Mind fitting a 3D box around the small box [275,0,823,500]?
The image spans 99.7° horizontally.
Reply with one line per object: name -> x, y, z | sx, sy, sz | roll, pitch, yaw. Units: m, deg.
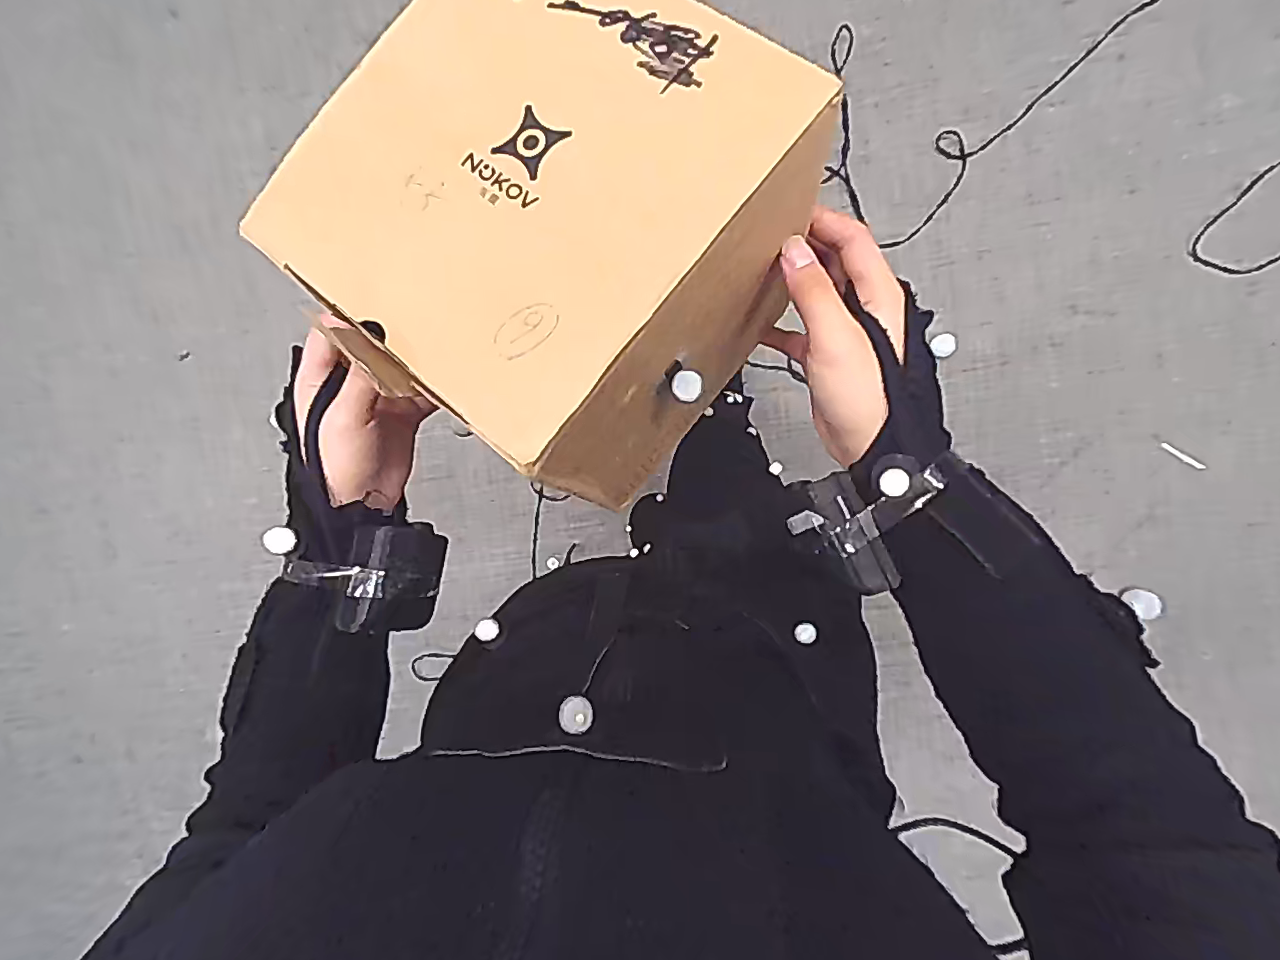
small box -> -0.031, -0.105, 0.292 | 0.168, 0.176, 0.179 | 39, 90, 12
